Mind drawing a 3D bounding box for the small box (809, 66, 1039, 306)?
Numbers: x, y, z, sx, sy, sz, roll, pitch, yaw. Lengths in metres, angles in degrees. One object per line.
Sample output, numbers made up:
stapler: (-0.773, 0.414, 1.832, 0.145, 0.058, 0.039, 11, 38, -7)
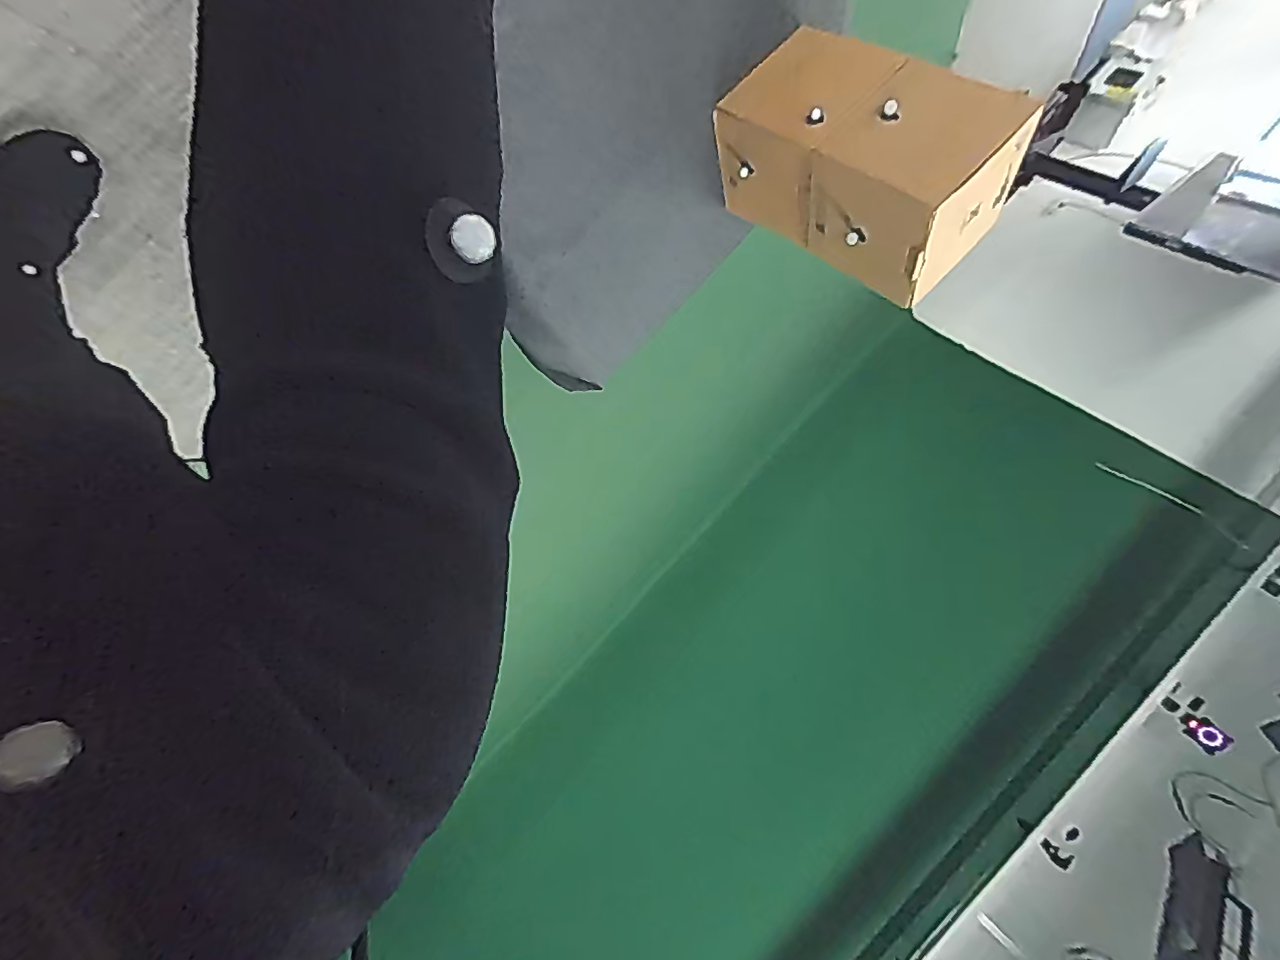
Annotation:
small box: (0.331, -0.362, 0.674, 0.179, 0.176, 0.168, -44, 155, -4)

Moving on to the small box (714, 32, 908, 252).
small box: (0.227, -0.466, 0.747, 0.179, 0.176, 0.168, -45, 155, -4)
